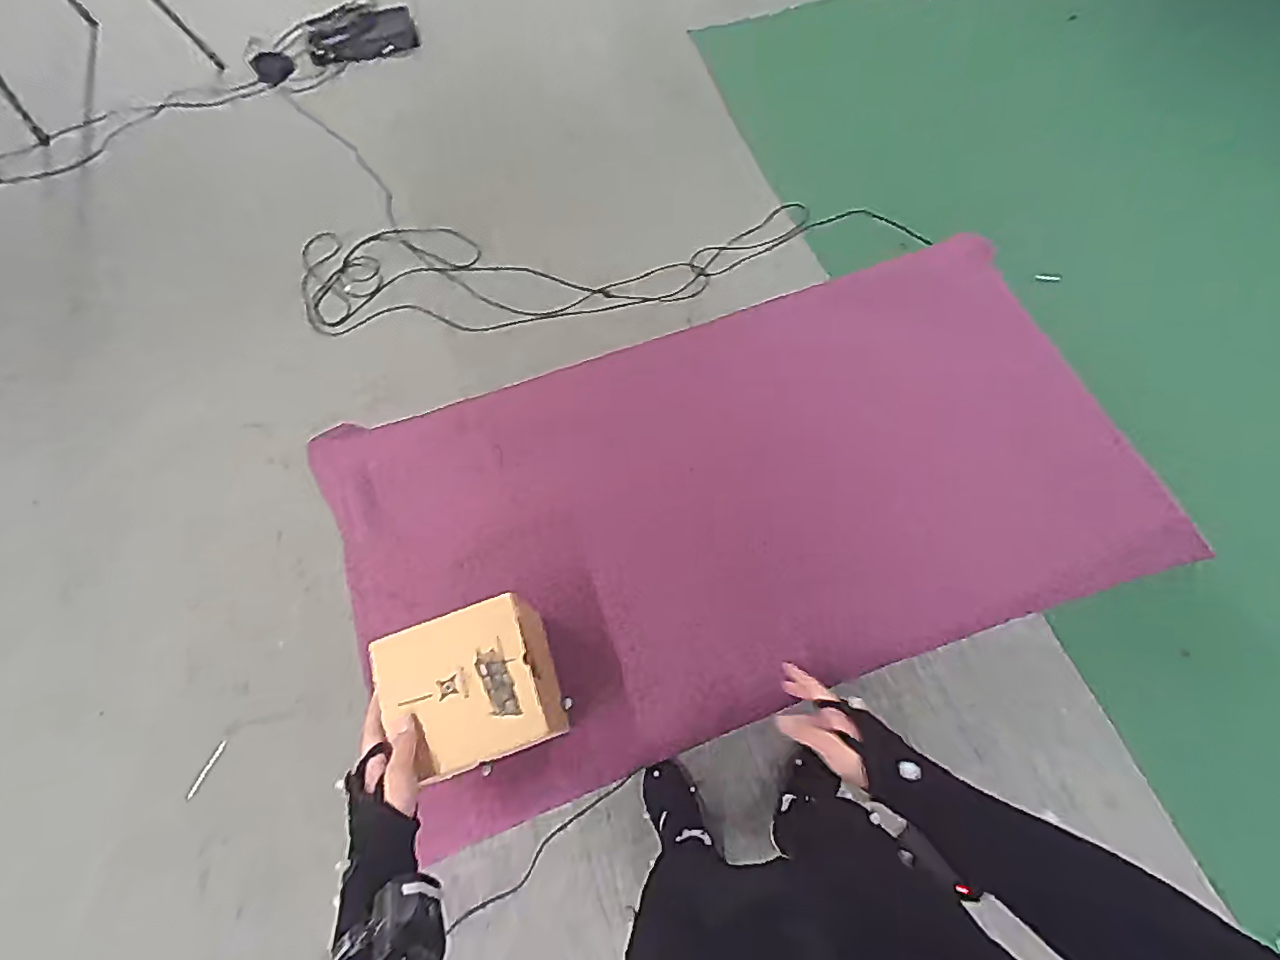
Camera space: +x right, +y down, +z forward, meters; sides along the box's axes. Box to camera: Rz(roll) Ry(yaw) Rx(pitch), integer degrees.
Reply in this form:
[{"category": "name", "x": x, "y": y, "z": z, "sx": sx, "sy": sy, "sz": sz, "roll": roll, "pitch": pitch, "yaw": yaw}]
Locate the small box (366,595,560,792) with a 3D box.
[{"category": "small box", "x": -0.207, "y": 0.260, "z": 0.674, "sx": 0.179, "sy": 0.176, "sz": 0.168, "roll": -19, "pitch": 67, "yaw": -5}]
